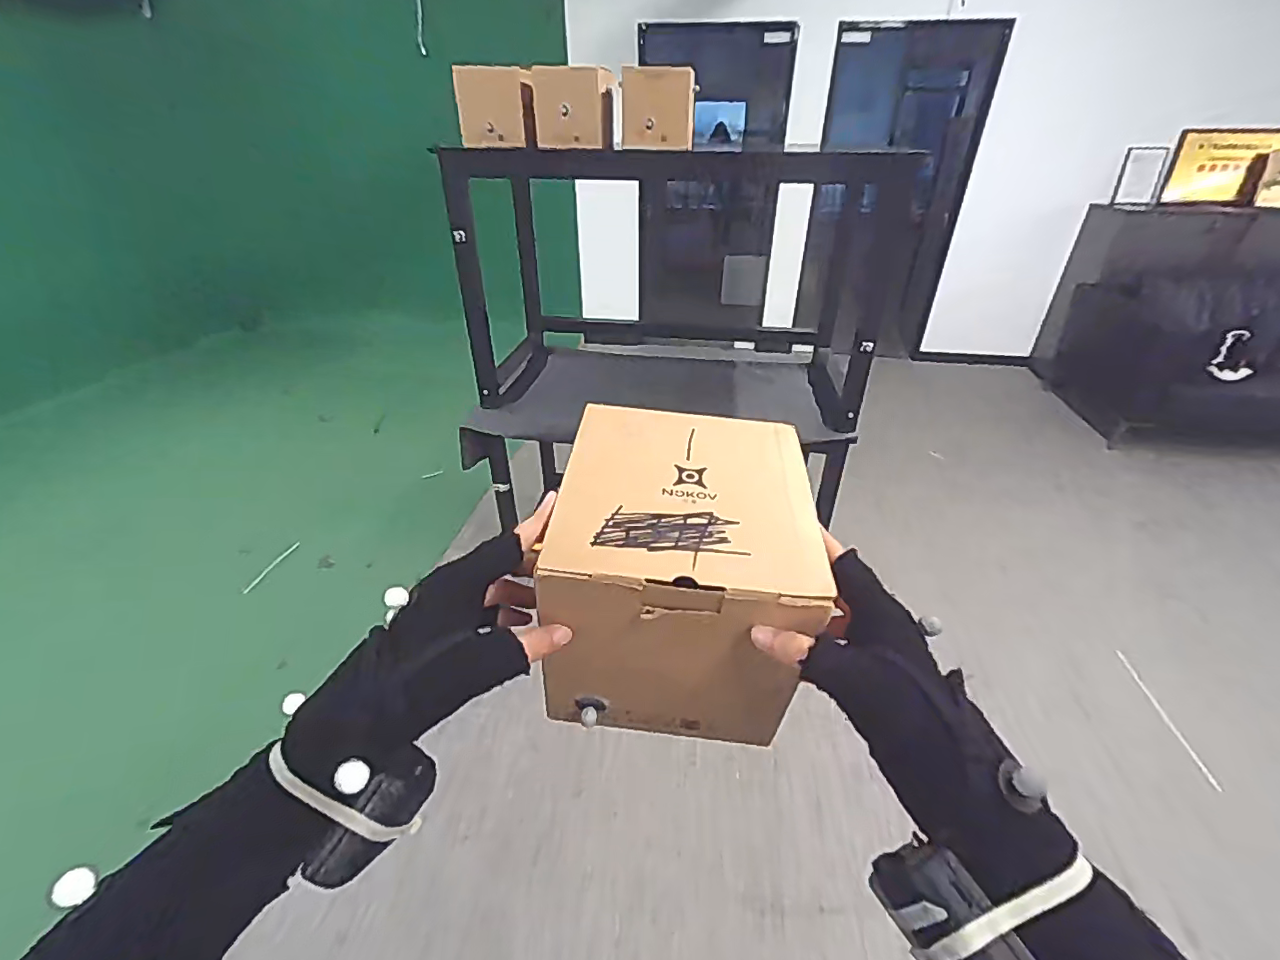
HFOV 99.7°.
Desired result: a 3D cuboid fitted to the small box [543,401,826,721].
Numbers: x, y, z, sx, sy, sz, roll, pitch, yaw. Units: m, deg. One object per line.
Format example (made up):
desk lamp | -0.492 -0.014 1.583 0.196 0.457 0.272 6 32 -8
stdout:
small box | 0.028 0.060 0.420 0.168 0.176 0.179 6 38 1
